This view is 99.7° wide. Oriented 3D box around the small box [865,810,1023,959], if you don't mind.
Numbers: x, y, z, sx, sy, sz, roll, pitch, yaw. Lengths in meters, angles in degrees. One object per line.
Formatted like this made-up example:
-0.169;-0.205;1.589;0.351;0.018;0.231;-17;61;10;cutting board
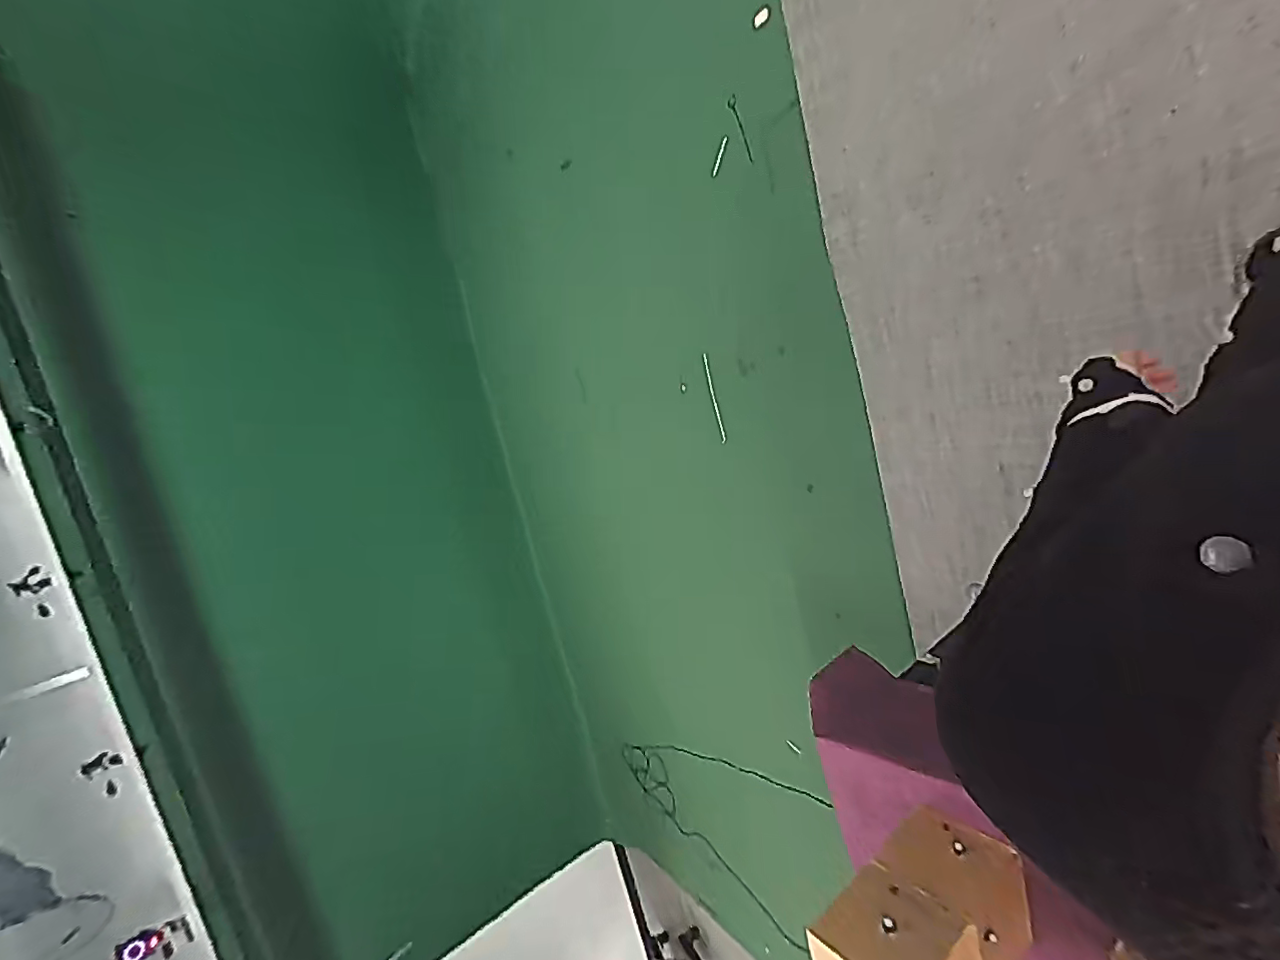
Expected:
0.508;0.707;0.901;0.168;0.176;0.179;-2;103;55;small box

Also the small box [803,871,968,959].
0.376;0.749;0.811;0.168;0.176;0.179;-3;102;56;small box
